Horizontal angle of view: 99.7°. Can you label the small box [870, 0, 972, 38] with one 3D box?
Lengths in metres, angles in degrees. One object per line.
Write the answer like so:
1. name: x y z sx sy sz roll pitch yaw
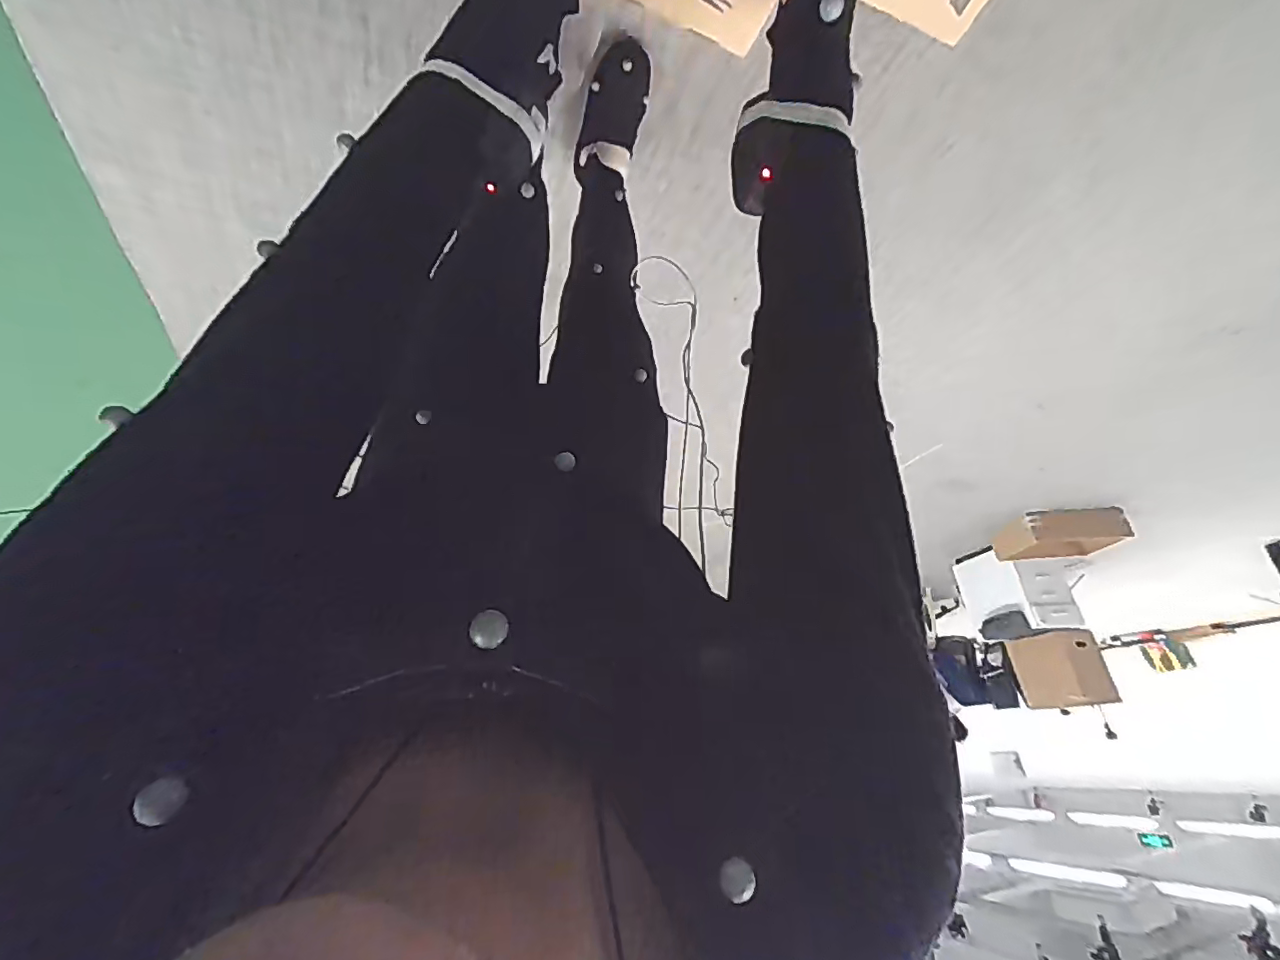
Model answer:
1. small box: 0.327 -0.673 0.622 0.179 0.176 0.168 7 151 -21
